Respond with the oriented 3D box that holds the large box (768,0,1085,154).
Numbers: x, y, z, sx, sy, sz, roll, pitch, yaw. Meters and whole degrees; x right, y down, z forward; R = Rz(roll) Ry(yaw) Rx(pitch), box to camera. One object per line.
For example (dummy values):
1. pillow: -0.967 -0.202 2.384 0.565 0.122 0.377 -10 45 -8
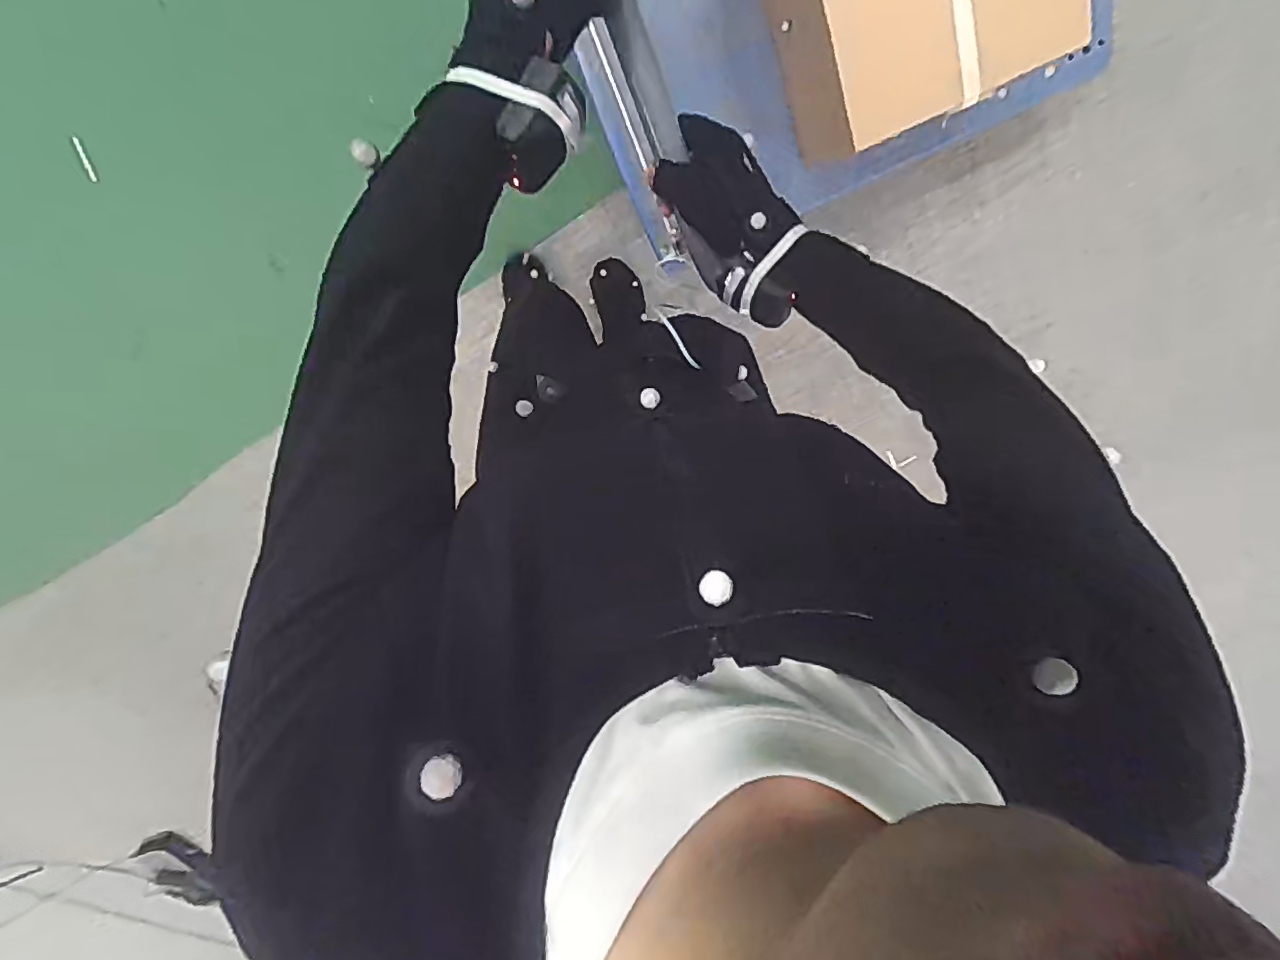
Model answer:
1. large box: 0.375 -0.771 0.798 0.320 0.320 0.408 -20 114 12
